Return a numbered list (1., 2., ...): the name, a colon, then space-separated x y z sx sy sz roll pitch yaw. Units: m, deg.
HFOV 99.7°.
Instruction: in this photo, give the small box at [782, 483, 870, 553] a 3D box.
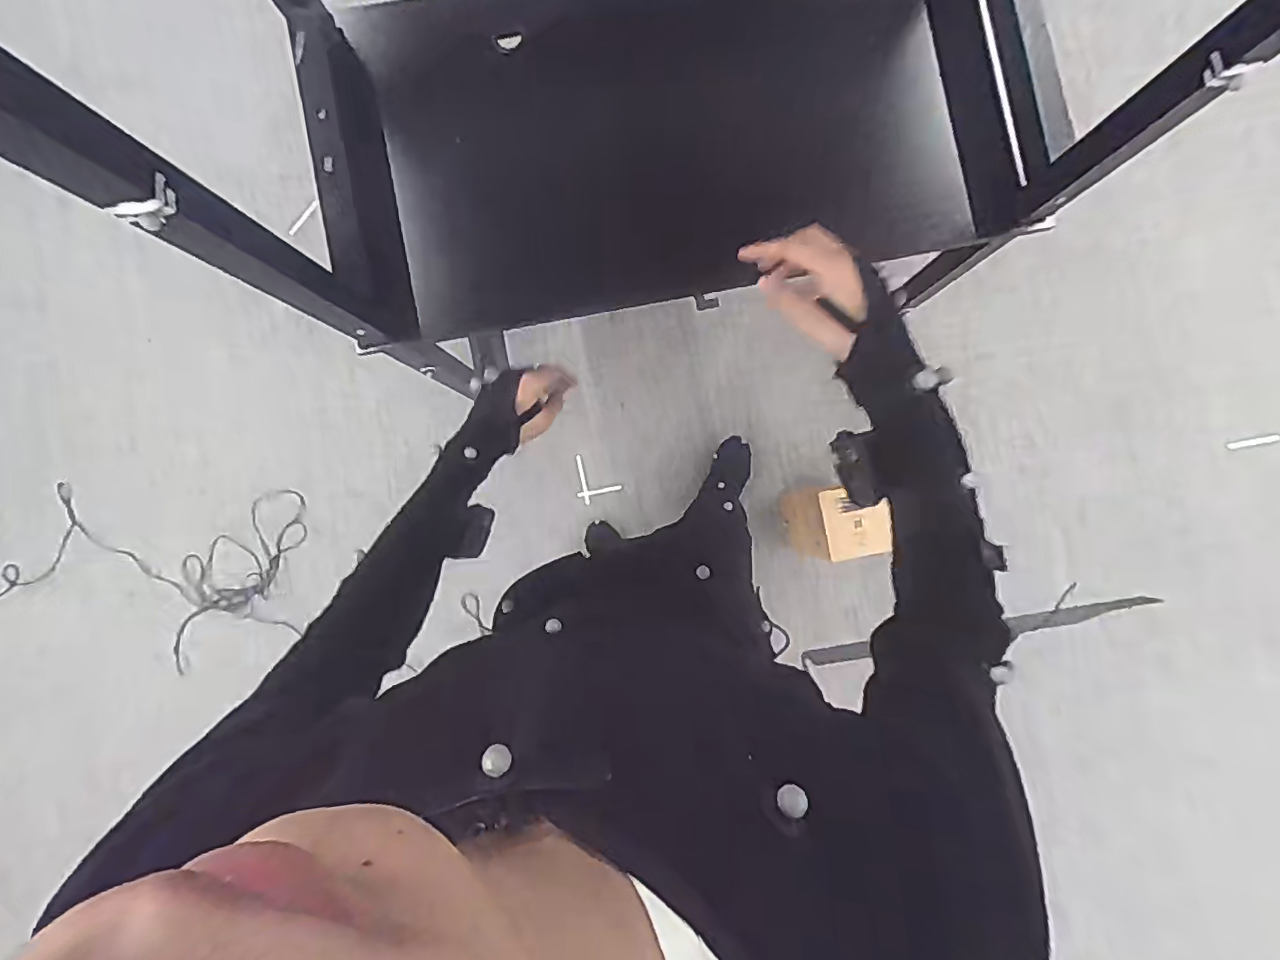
1. small box: 0.524 0.102 1.540 0.179 0.176 0.168 -12 88 2
